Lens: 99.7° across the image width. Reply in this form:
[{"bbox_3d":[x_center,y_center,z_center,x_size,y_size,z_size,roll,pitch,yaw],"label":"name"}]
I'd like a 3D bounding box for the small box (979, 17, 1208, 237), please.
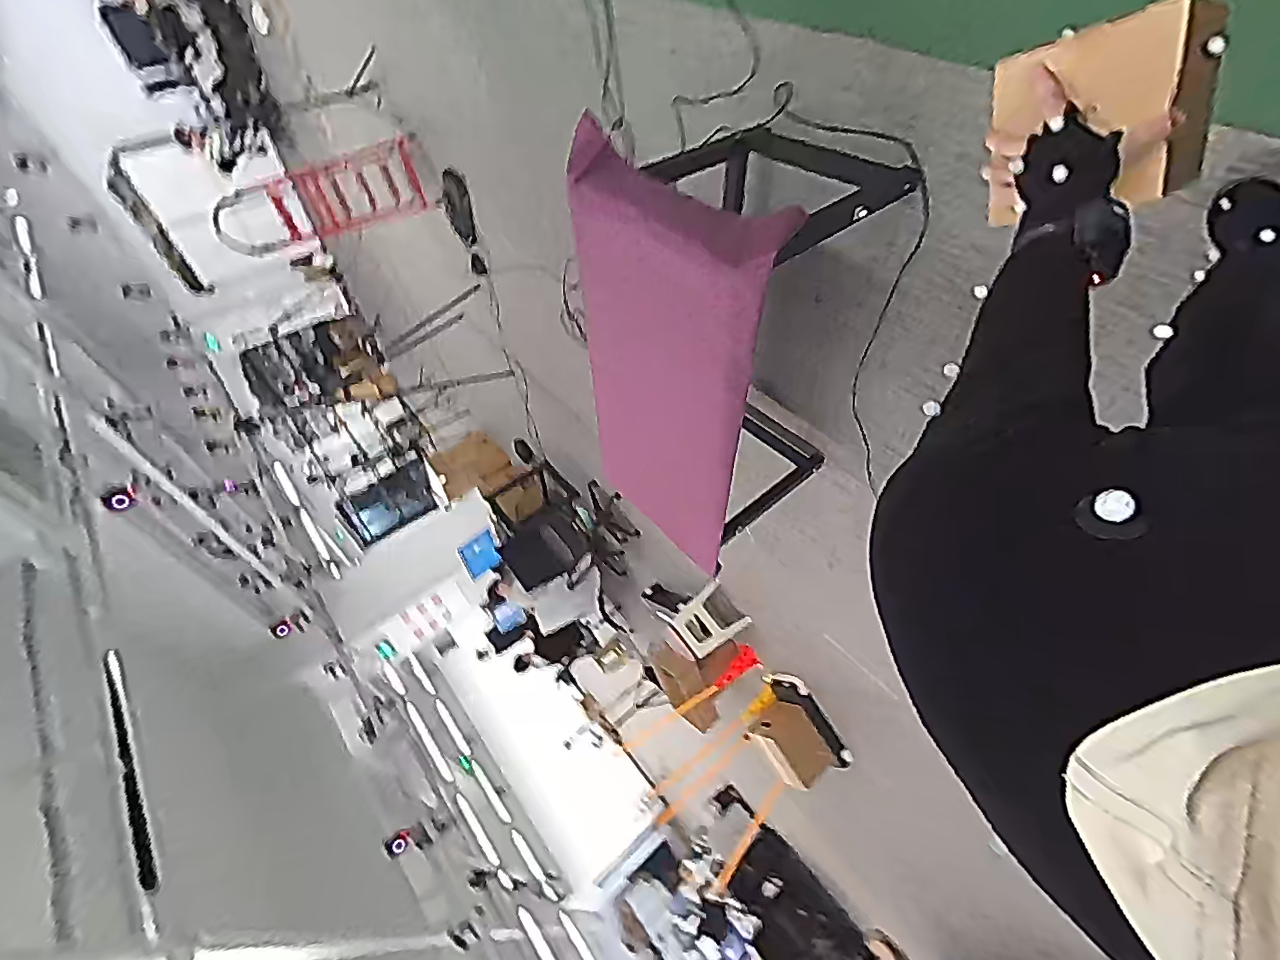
[{"bbox_3d":[0.533,-0.405,0.644,0.168,0.176,0.179,17,127,51],"label":"small box"}]
